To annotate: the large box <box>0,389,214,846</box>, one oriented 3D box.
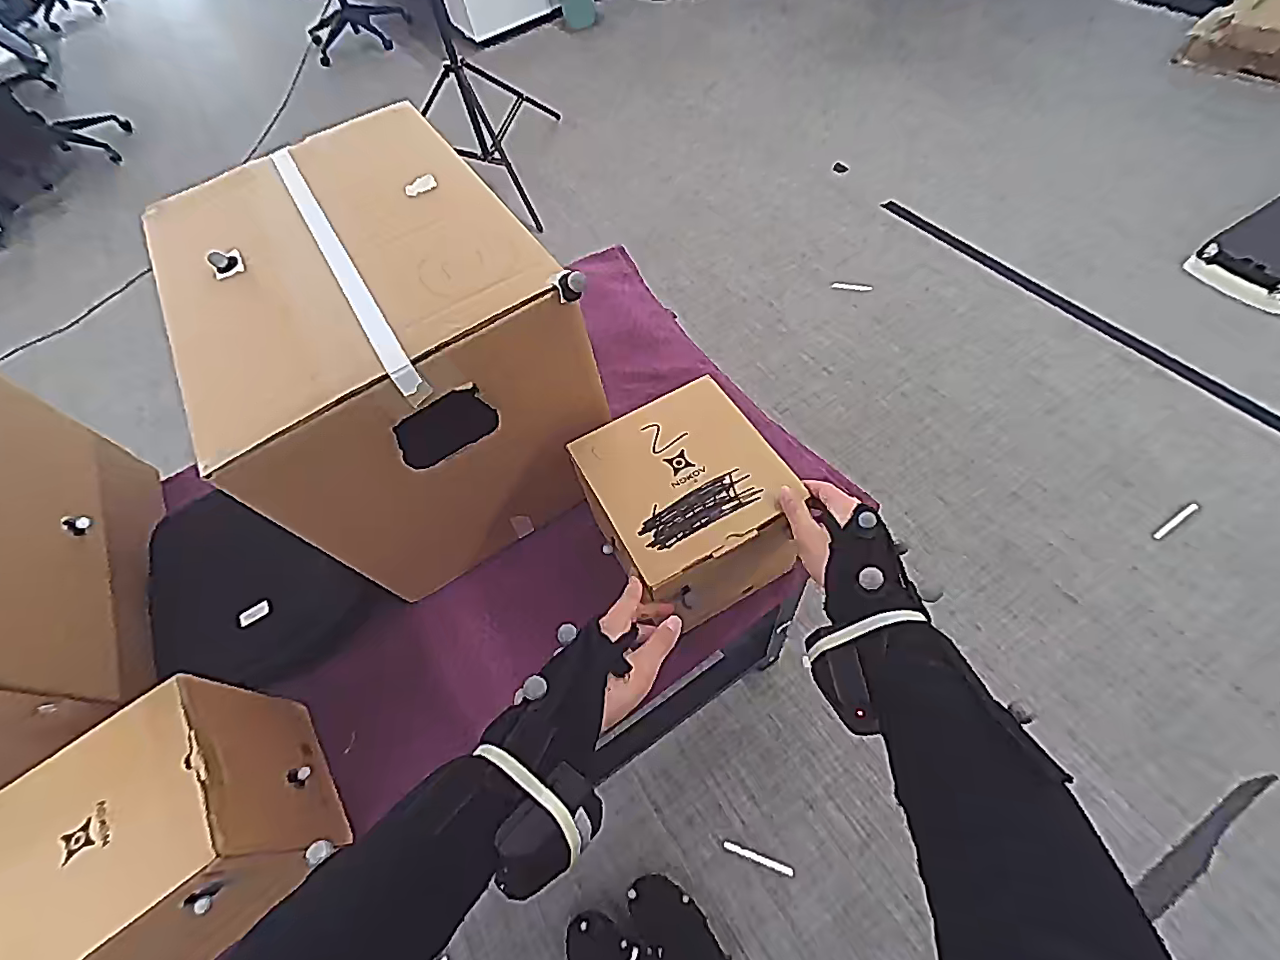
[{"bbox_3d":[-0.736,0.136,0.552,0.320,0.320,0.408,-33,63,-11],"label":"large box"}]
